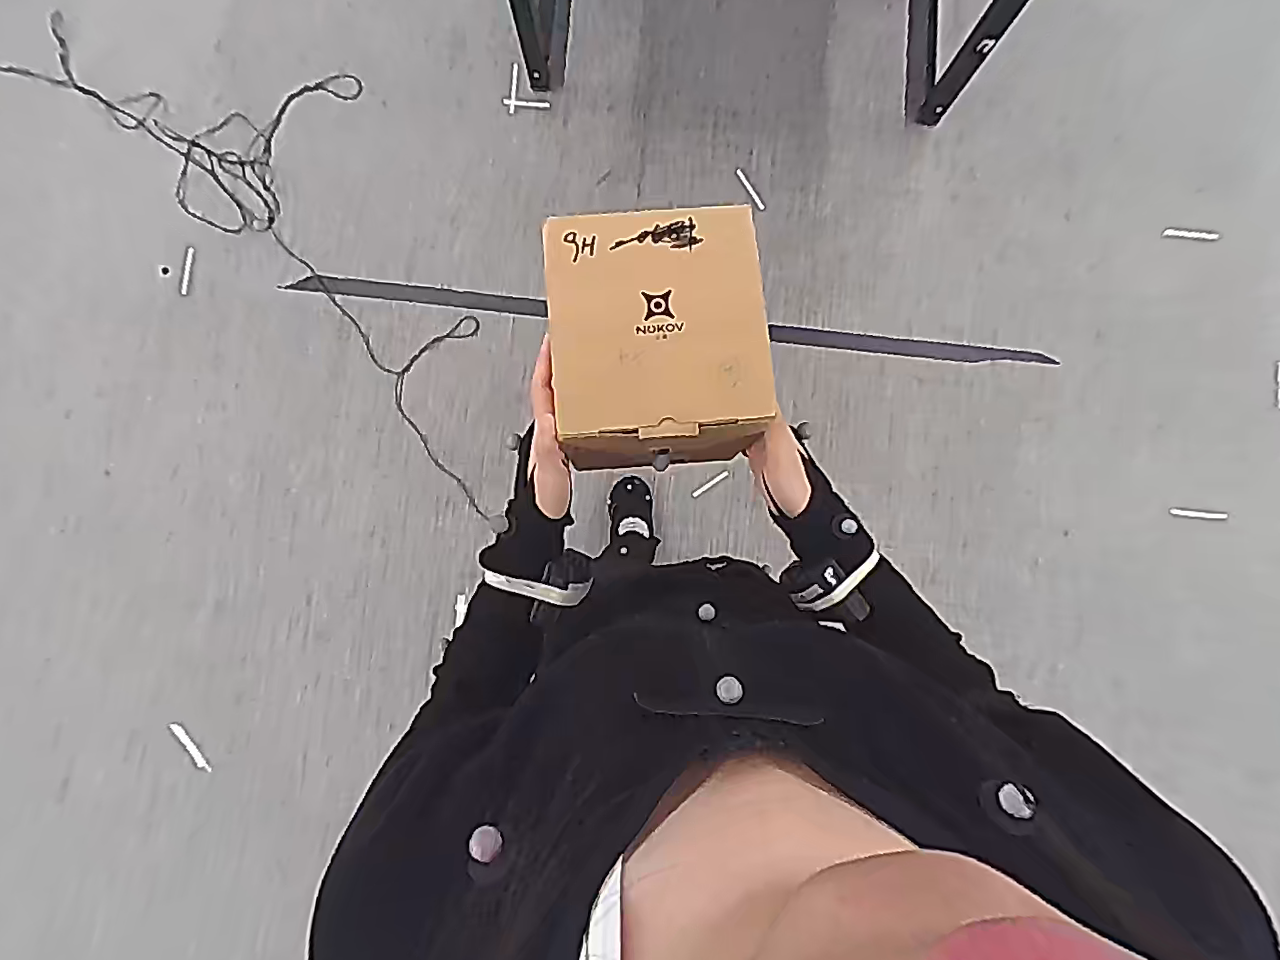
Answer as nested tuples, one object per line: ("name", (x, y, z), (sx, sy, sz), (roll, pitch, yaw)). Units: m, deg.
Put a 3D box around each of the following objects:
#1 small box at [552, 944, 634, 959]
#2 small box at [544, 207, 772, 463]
("small box", (-0.103, 1.064, 1.063), (0.179, 0.176, 0.168), (5, 85, 2))
("small box", (0.012, -0.112, 0.490), (0.168, 0.176, 0.179), (-5, 83, -2))
